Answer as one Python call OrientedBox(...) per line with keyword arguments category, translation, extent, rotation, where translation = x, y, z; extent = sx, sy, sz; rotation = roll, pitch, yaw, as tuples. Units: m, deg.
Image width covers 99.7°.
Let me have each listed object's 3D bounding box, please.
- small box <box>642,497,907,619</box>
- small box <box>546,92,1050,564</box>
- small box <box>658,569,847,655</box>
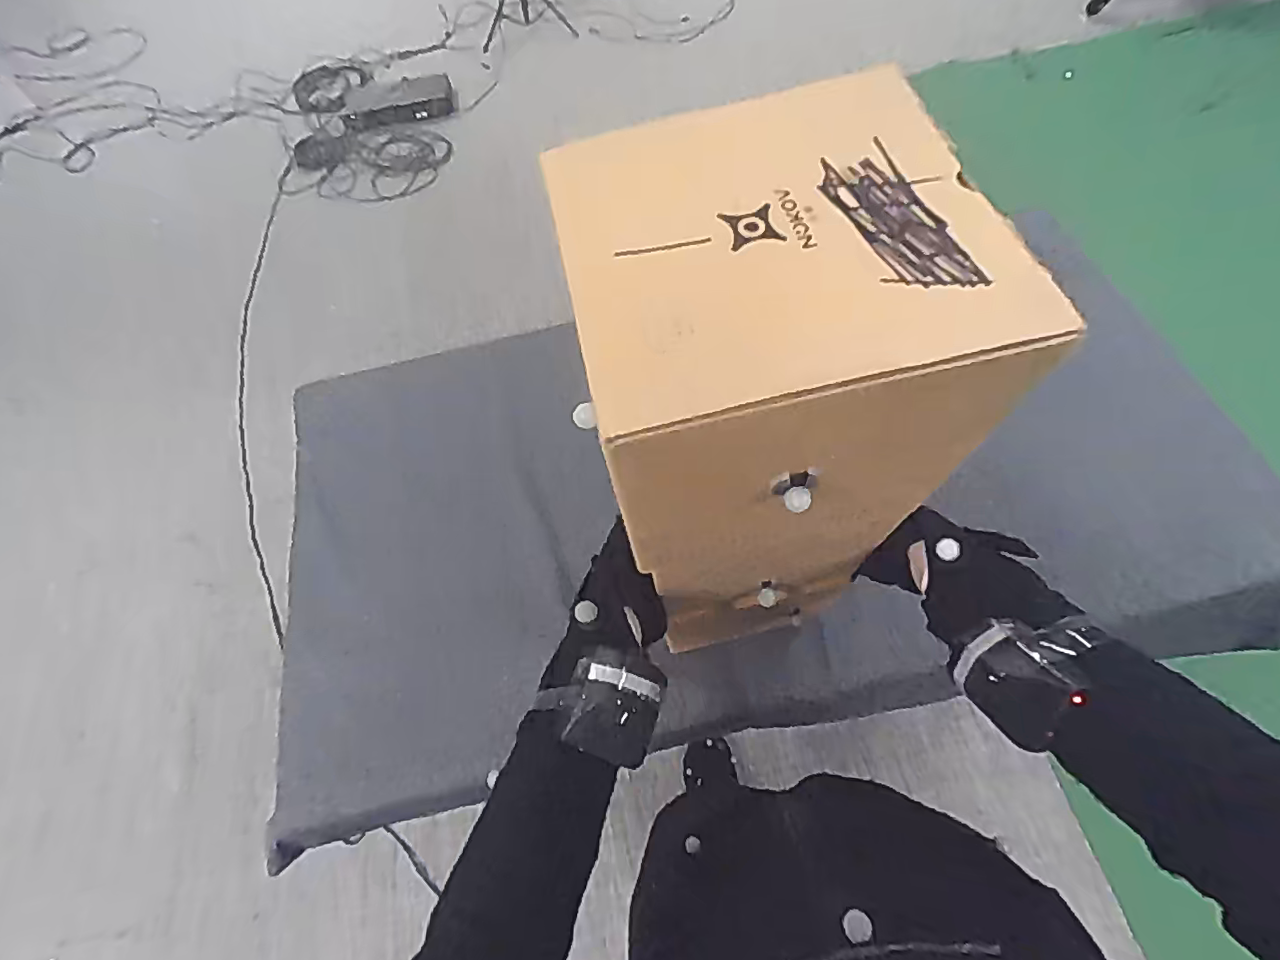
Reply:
OrientedBox(category="small box", translation=(0.077, 0.002, 0.448), extent=(0.179, 0.176, 0.168), rotation=(-13, 62, -2))
OrientedBox(category="small box", translation=(0.056, -0.067, 0.298), extent=(0.179, 0.176, 0.168), rotation=(-10, 62, 0))
OrientedBox(category="small box", translation=(0.094, 0.080, 0.592), extent=(0.179, 0.176, 0.168), rotation=(-15, 63, 0))
